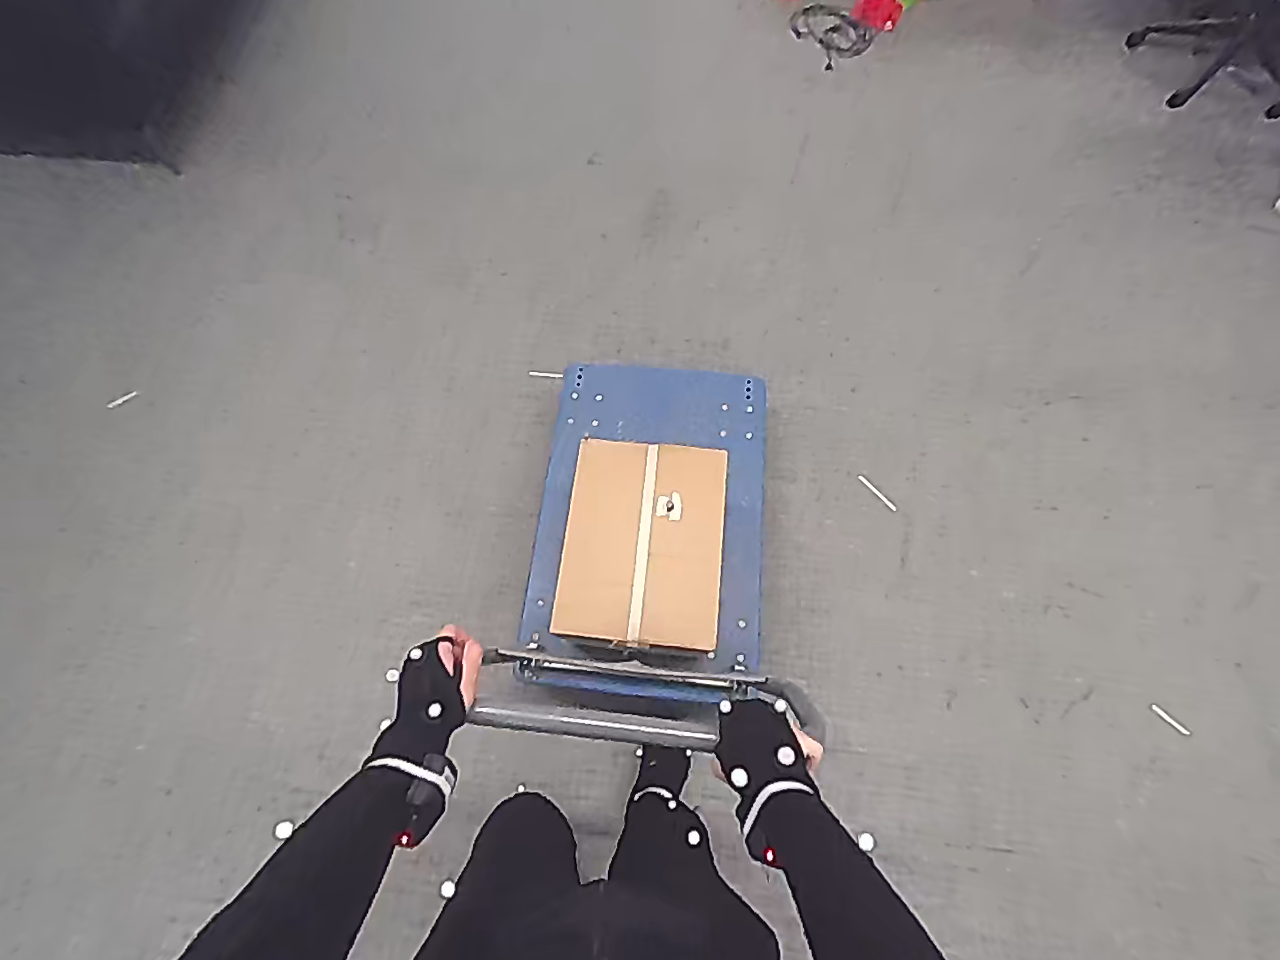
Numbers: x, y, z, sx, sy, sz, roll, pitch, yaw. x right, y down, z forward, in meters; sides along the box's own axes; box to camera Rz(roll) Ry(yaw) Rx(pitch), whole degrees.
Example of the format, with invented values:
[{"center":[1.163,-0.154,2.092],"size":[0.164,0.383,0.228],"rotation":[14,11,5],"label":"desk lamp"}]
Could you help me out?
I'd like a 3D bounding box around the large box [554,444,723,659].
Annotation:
[{"center":[0.012,0.174,1.208],"size":[0.320,0.320,0.408],"rotation":[5,68,3],"label":"large box"}]
